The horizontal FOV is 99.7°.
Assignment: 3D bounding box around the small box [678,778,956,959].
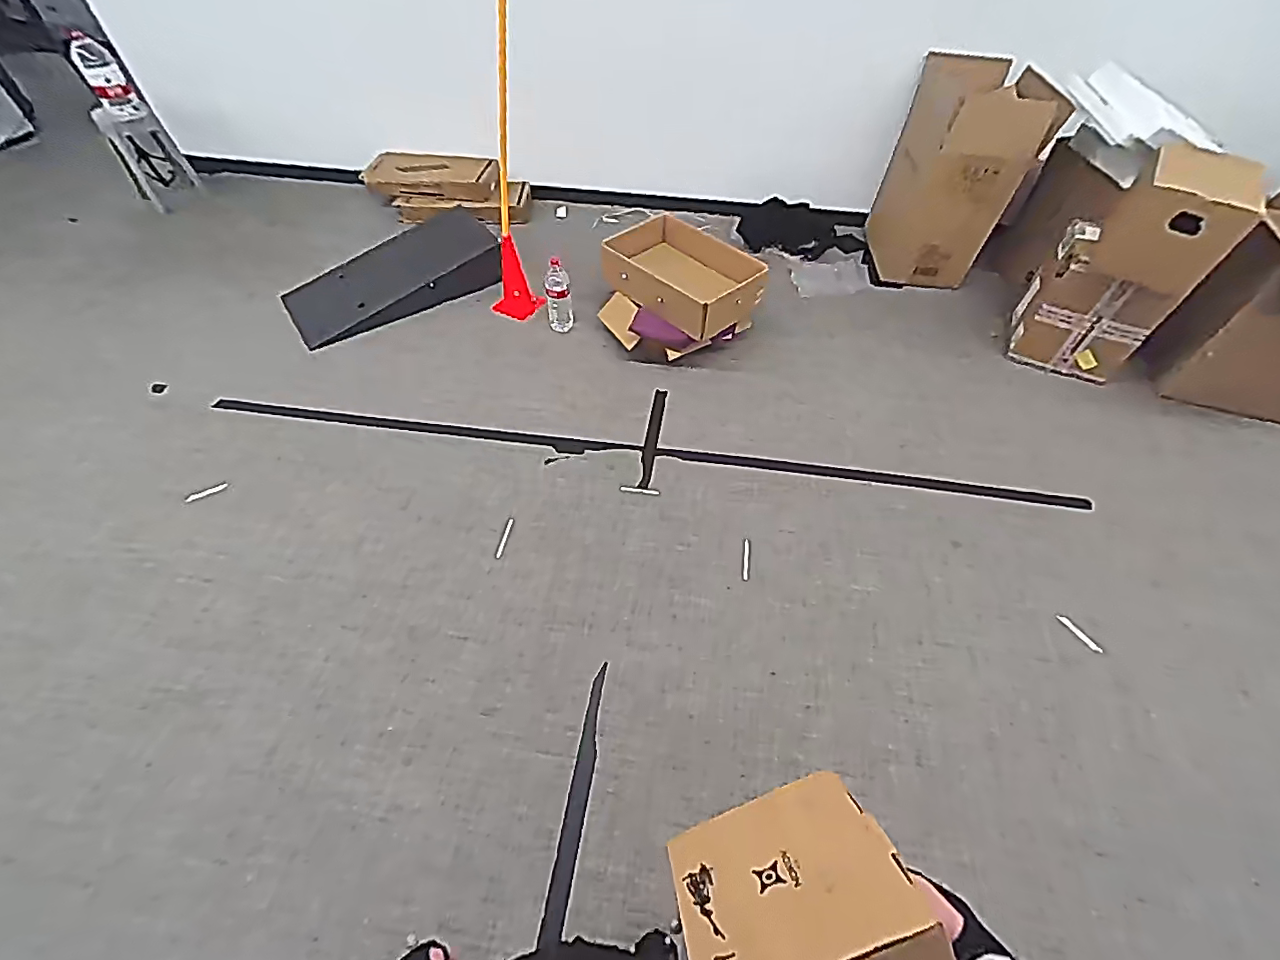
[{"bbox_3d":[0.151,0.406,0.458,0.179,0.168,0.176,-21,96,-3],"label":"small box"}]
